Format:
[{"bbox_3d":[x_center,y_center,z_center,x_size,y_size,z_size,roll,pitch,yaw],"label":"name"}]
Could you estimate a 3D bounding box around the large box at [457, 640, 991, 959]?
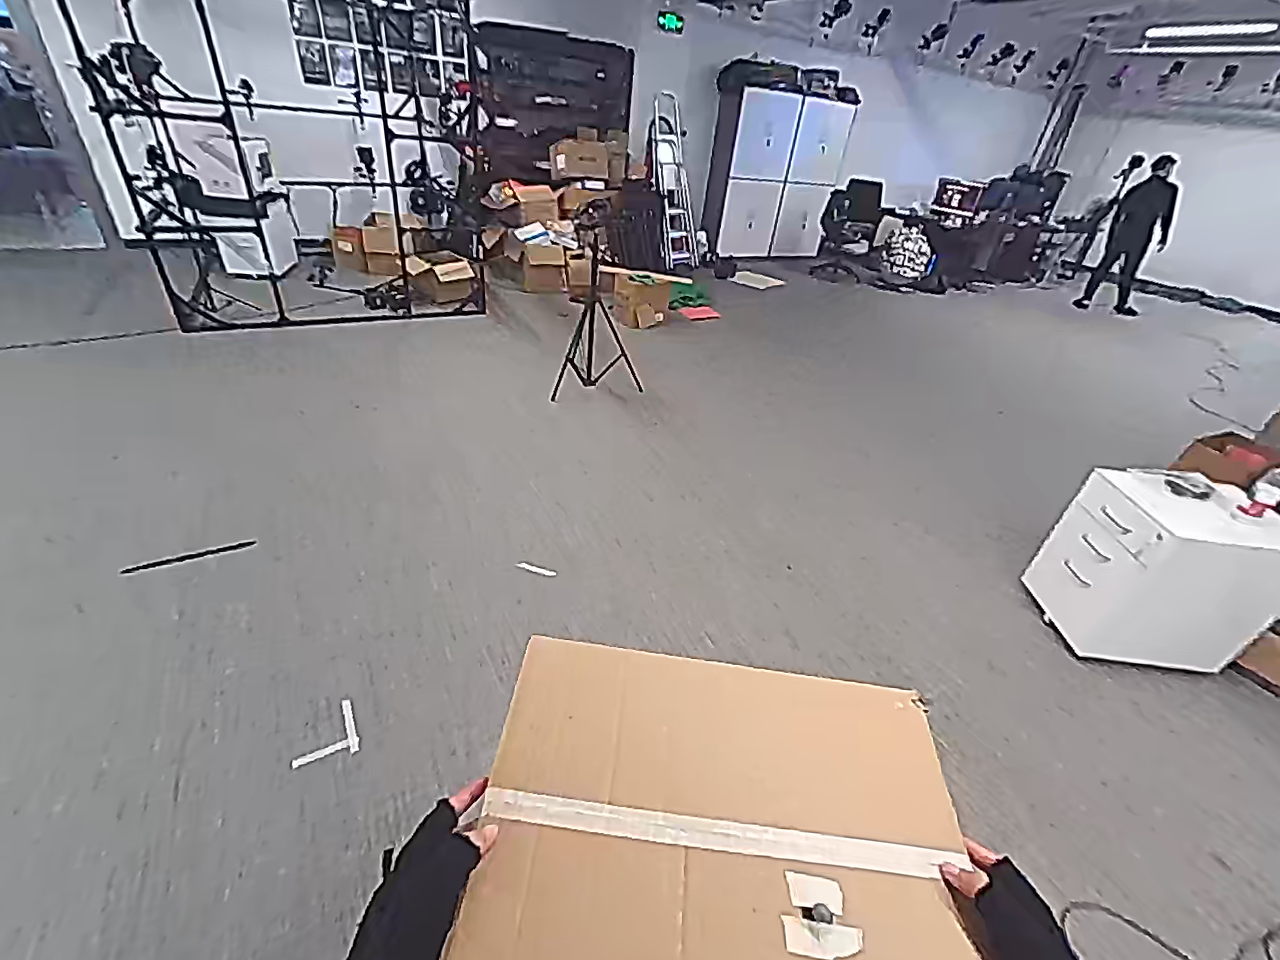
[{"bbox_3d":[0.059,0.404,0.557,0.408,0.320,0.320,9,42,0],"label":"large box"}]
